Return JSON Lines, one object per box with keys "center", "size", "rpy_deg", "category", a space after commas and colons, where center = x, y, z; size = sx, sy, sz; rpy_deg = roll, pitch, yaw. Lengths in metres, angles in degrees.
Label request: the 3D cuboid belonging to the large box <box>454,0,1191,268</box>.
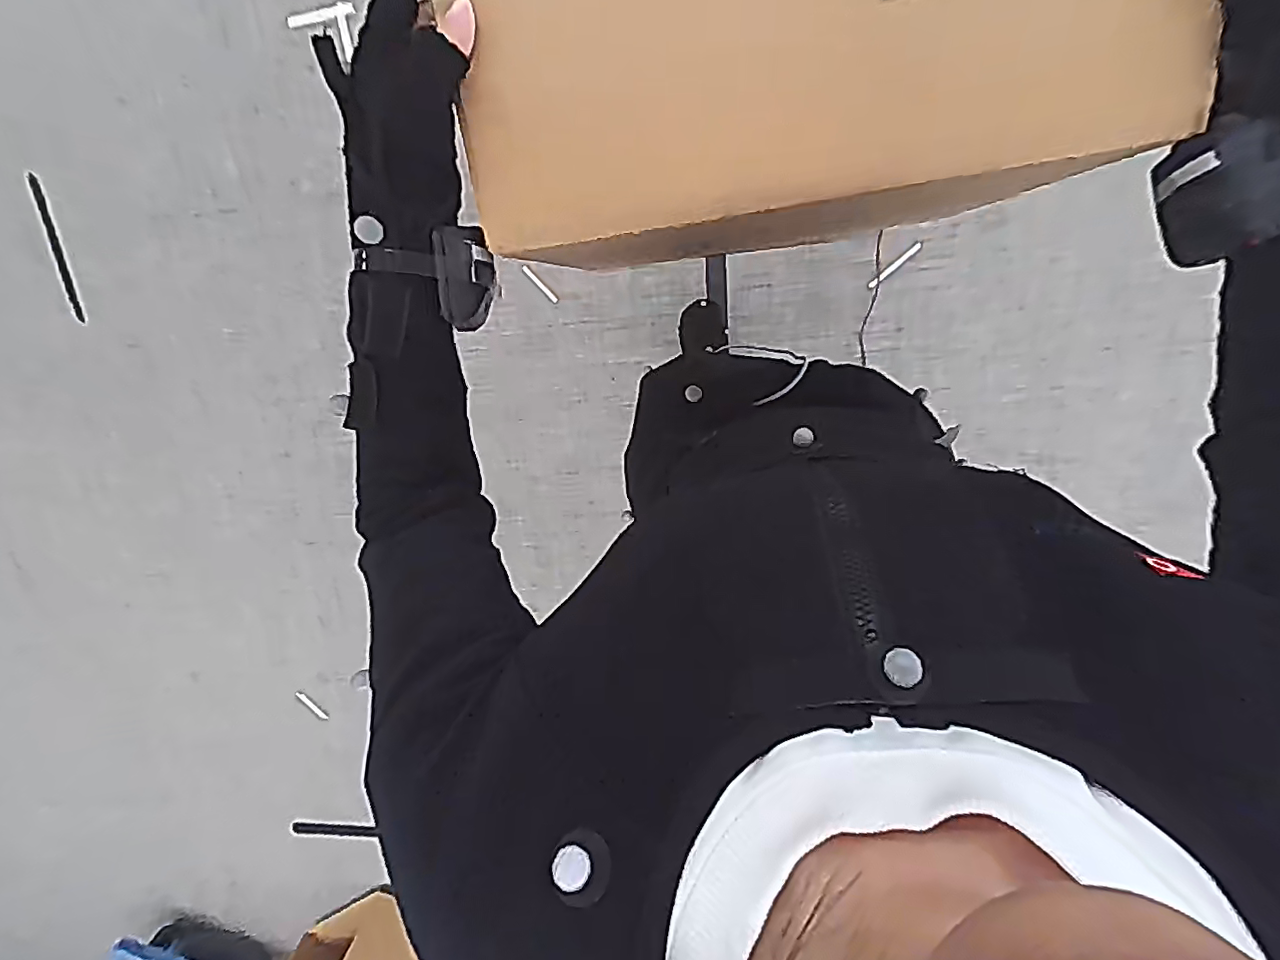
{"center": [0.096, -0.369, 0.426], "size": [0.408, 0.320, 0.320], "rpy_deg": [-6, 109, 9], "category": "large box"}
